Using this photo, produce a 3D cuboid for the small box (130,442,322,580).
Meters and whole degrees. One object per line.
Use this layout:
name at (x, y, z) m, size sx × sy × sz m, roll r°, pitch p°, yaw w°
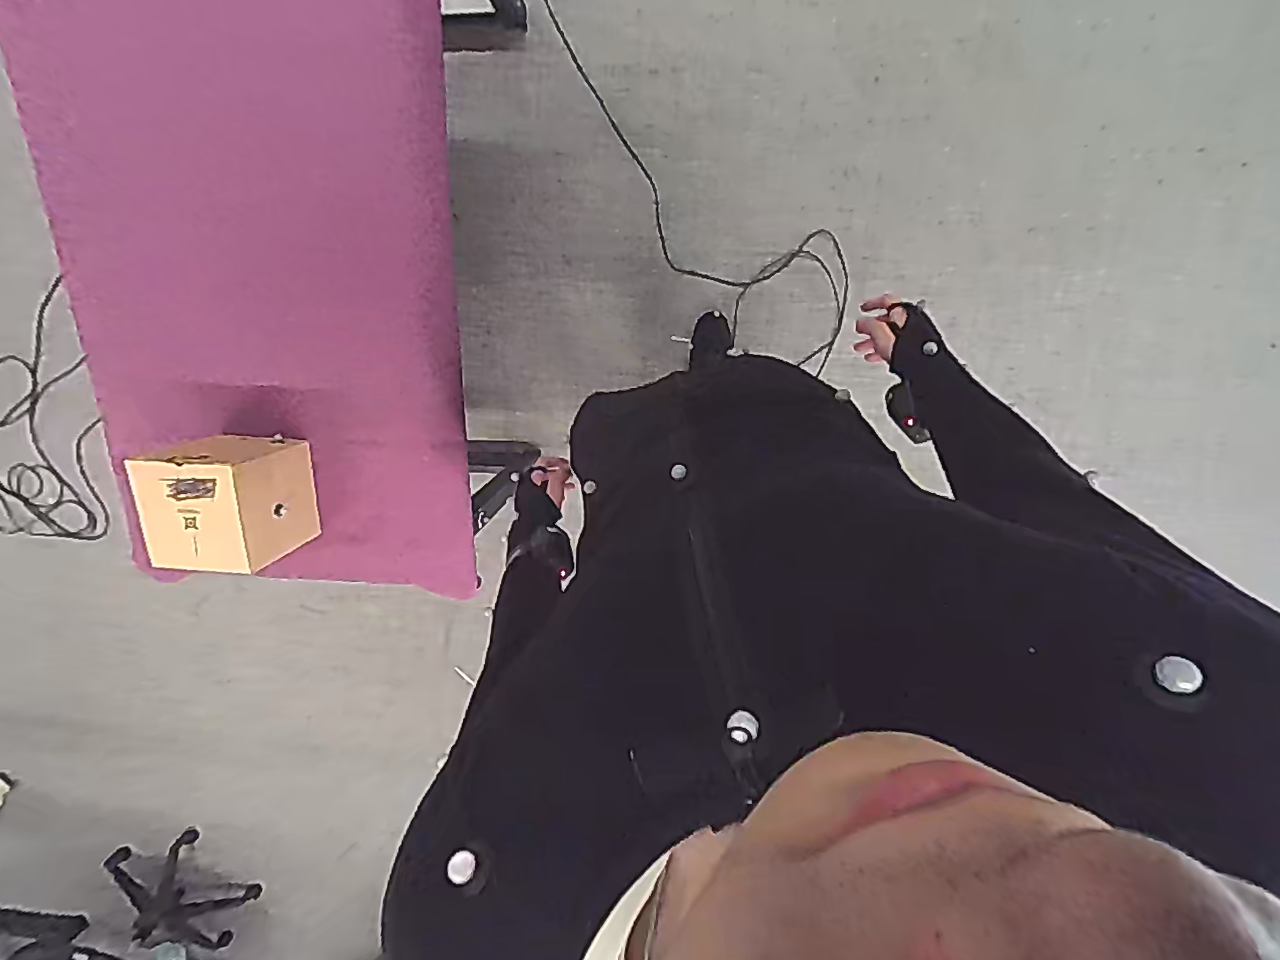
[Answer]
small box at (-0.649, 0.040, 0.872) m, size 0.168 × 0.176 × 0.179 m, roll 4°, pitch 108°, yaw 4°
